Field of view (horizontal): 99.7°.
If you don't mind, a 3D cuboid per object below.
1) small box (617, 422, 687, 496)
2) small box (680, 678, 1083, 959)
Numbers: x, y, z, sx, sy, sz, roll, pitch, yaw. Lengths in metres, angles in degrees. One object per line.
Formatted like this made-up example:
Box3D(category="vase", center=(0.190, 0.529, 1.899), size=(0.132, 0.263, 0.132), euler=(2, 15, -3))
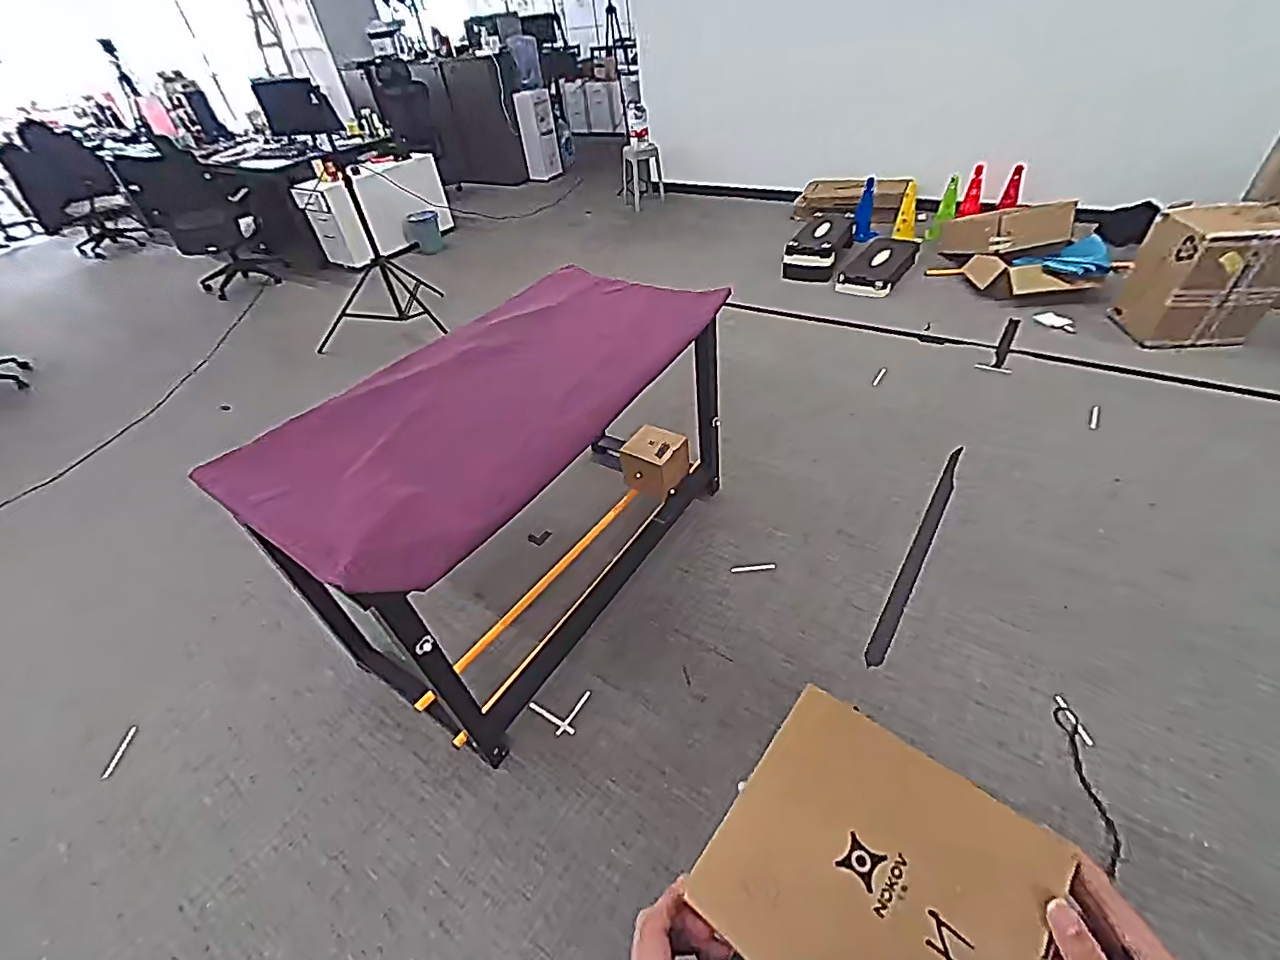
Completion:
Box3D(category="small box", center=(0.048, -0.069, 1.855), size=(0.179, 0.176, 0.168), euler=(21, 50, 29))
Box3D(category="small box", center=(0.152, 0.282, 0.380), size=(0.179, 0.176, 0.168), euler=(28, 61, 31))
